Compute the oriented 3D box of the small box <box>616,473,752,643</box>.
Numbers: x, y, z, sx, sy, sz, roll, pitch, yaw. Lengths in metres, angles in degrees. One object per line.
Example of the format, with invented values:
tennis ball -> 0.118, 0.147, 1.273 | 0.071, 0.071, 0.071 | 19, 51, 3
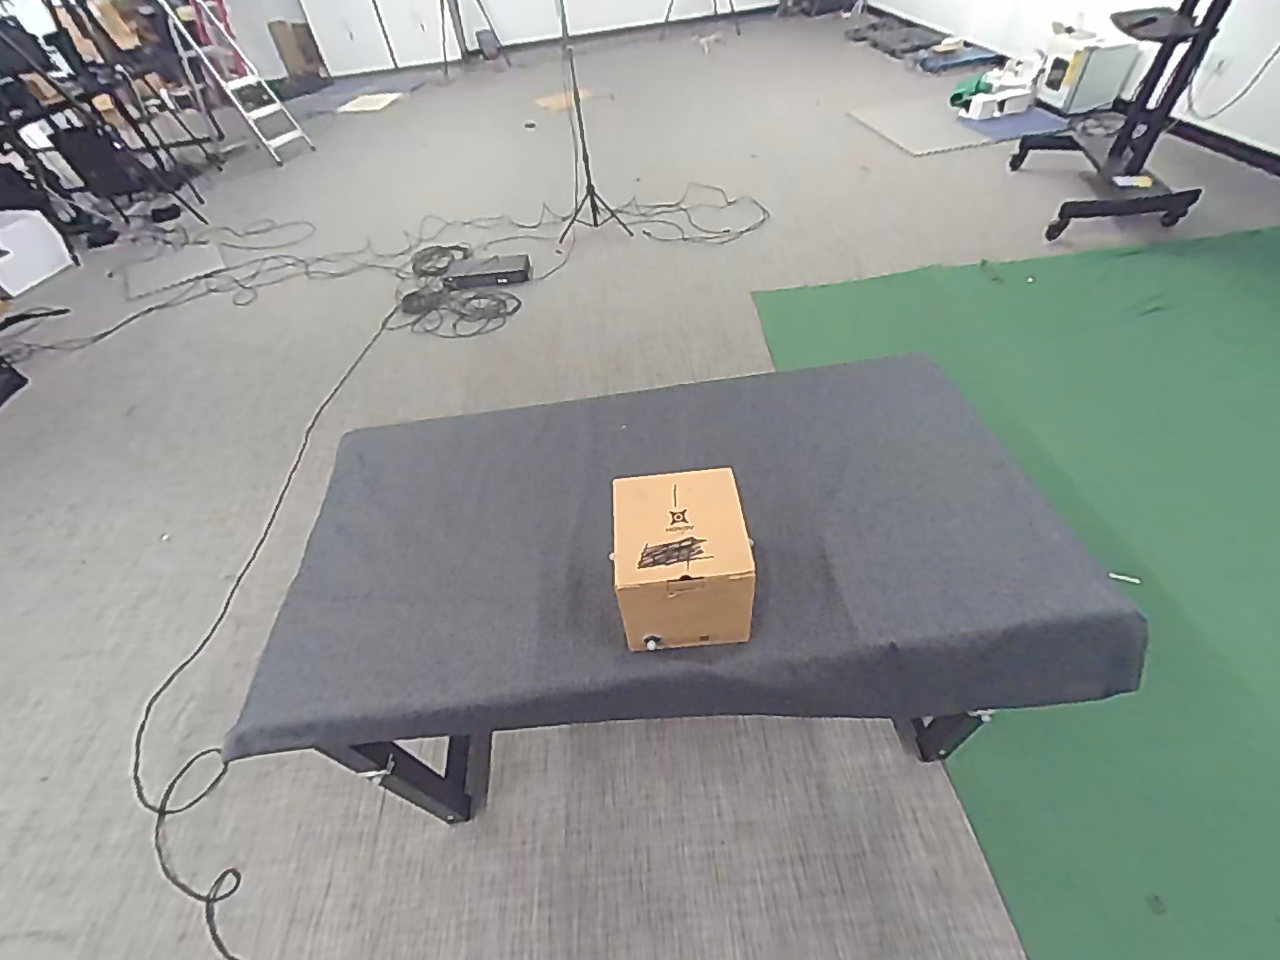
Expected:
small box -> 0.058, 0.114, 0.752 | 0.168, 0.176, 0.179 | -4, 46, 2
